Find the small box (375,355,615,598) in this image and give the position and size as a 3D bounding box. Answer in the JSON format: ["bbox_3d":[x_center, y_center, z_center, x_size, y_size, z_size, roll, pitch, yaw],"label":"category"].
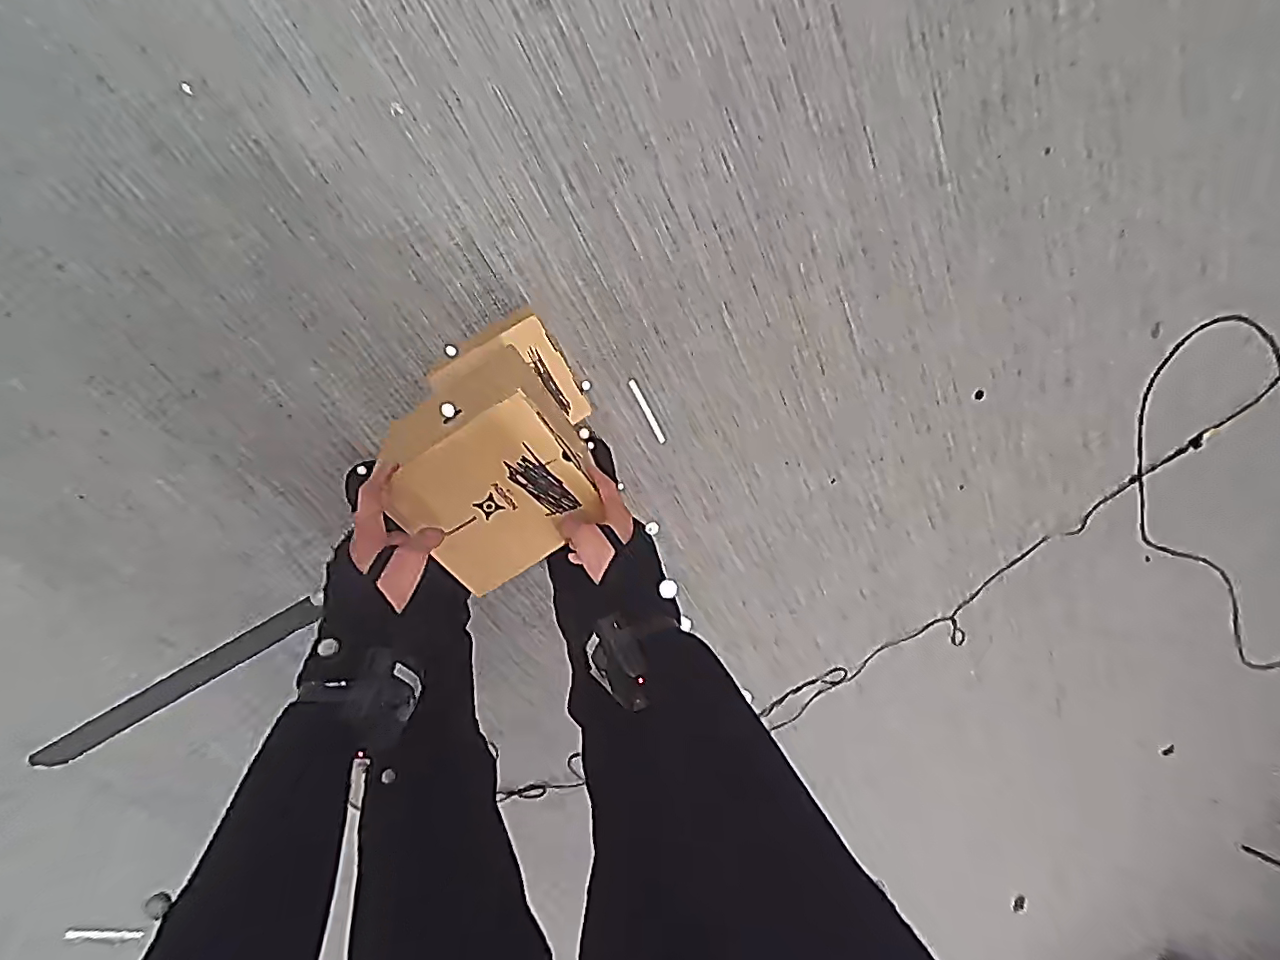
[{"bbox_3d":[-0.155,-0.013,0.600,0.179,0.176,0.168,-33,120,4],"label":"small box"}]
